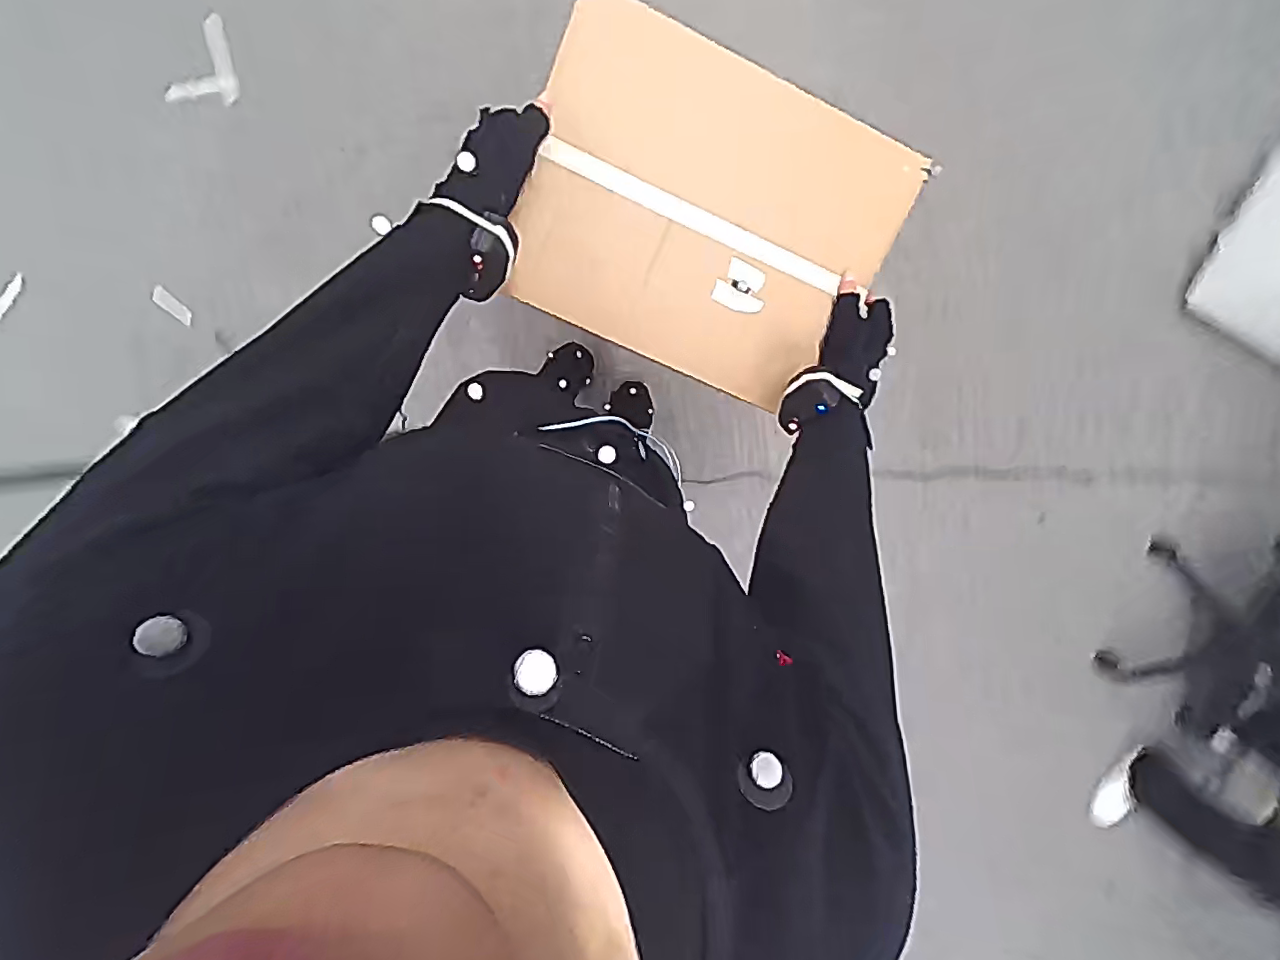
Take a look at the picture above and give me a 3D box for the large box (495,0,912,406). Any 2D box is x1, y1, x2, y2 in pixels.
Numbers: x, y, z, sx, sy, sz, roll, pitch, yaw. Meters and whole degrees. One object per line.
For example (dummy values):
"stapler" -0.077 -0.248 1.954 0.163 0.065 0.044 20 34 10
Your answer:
"large box" 0.059 -0.331 0.754 0.408 0.320 0.320 20 104 -9
